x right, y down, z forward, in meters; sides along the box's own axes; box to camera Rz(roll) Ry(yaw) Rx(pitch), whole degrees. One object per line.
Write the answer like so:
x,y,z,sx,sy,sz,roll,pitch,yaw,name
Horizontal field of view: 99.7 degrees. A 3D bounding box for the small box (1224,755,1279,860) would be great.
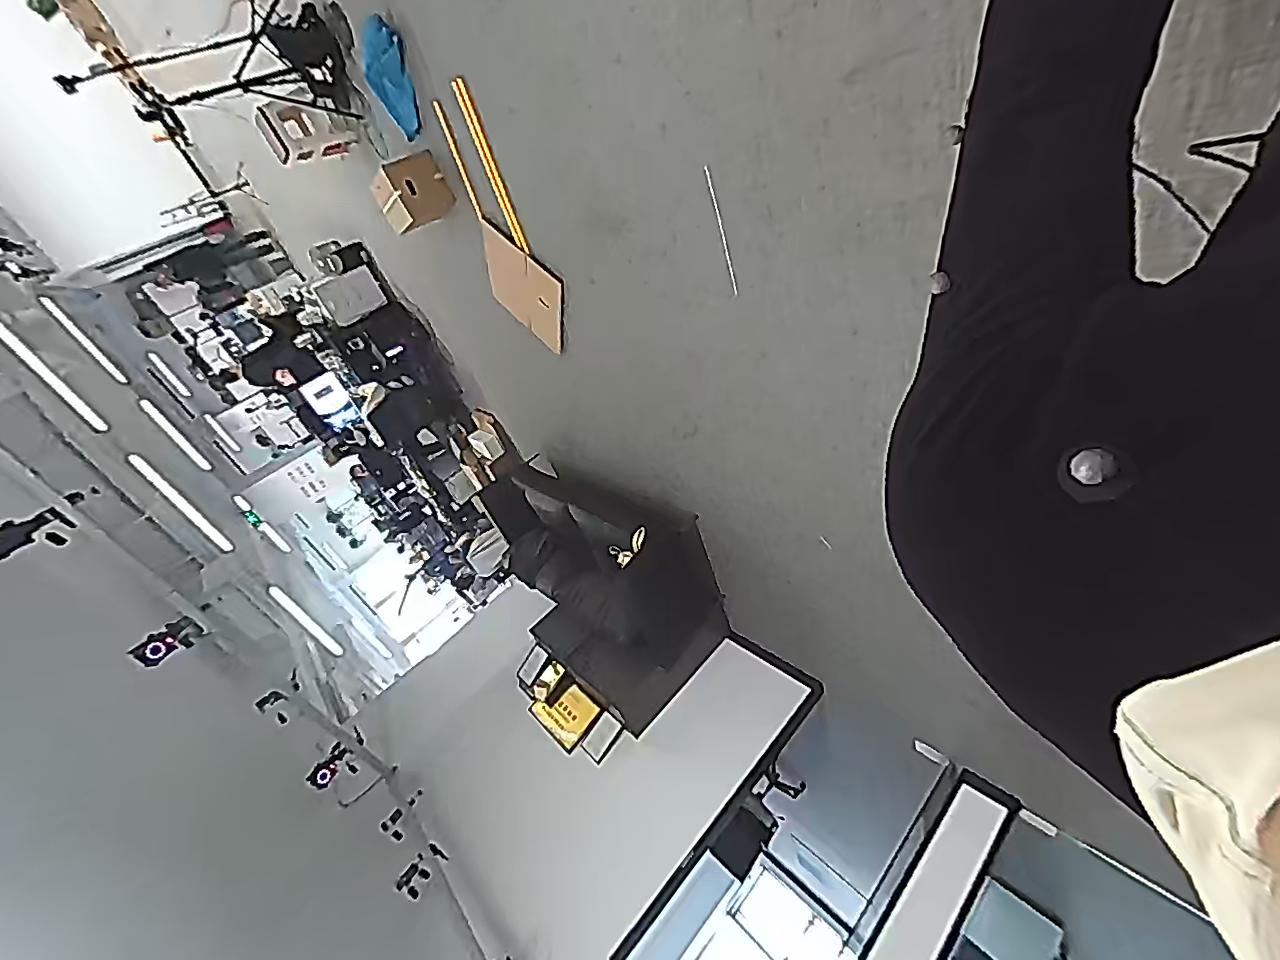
1.586,0.815,1.311,0.179,0.176,0.168,24,145,42,small box
